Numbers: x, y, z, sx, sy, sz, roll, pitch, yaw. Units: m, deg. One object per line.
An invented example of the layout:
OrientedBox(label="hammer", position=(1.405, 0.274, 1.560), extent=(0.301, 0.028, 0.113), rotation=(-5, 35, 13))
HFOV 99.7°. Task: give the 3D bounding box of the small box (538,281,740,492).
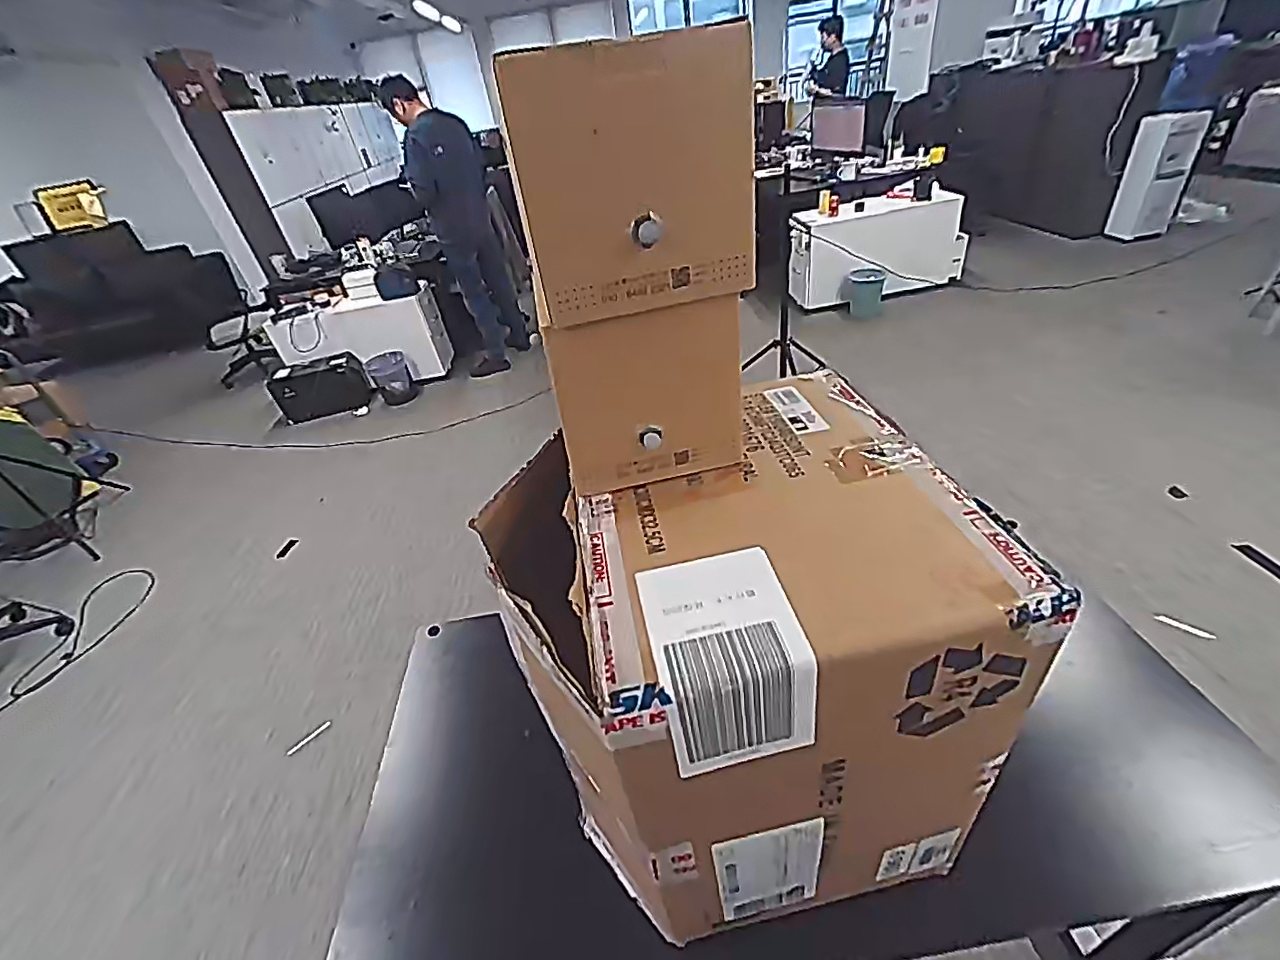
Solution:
OrientedBox(label="small box", position=(-0.005, -0.112, 0.549), extent=(0.168, 0.176, 0.179), rotation=(-12, 35, -5))

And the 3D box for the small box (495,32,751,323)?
OrientedBox(label="small box", position=(-0.017, -0.244, 0.450), extent=(0.168, 0.176, 0.179), rotation=(-14, 34, -7))
